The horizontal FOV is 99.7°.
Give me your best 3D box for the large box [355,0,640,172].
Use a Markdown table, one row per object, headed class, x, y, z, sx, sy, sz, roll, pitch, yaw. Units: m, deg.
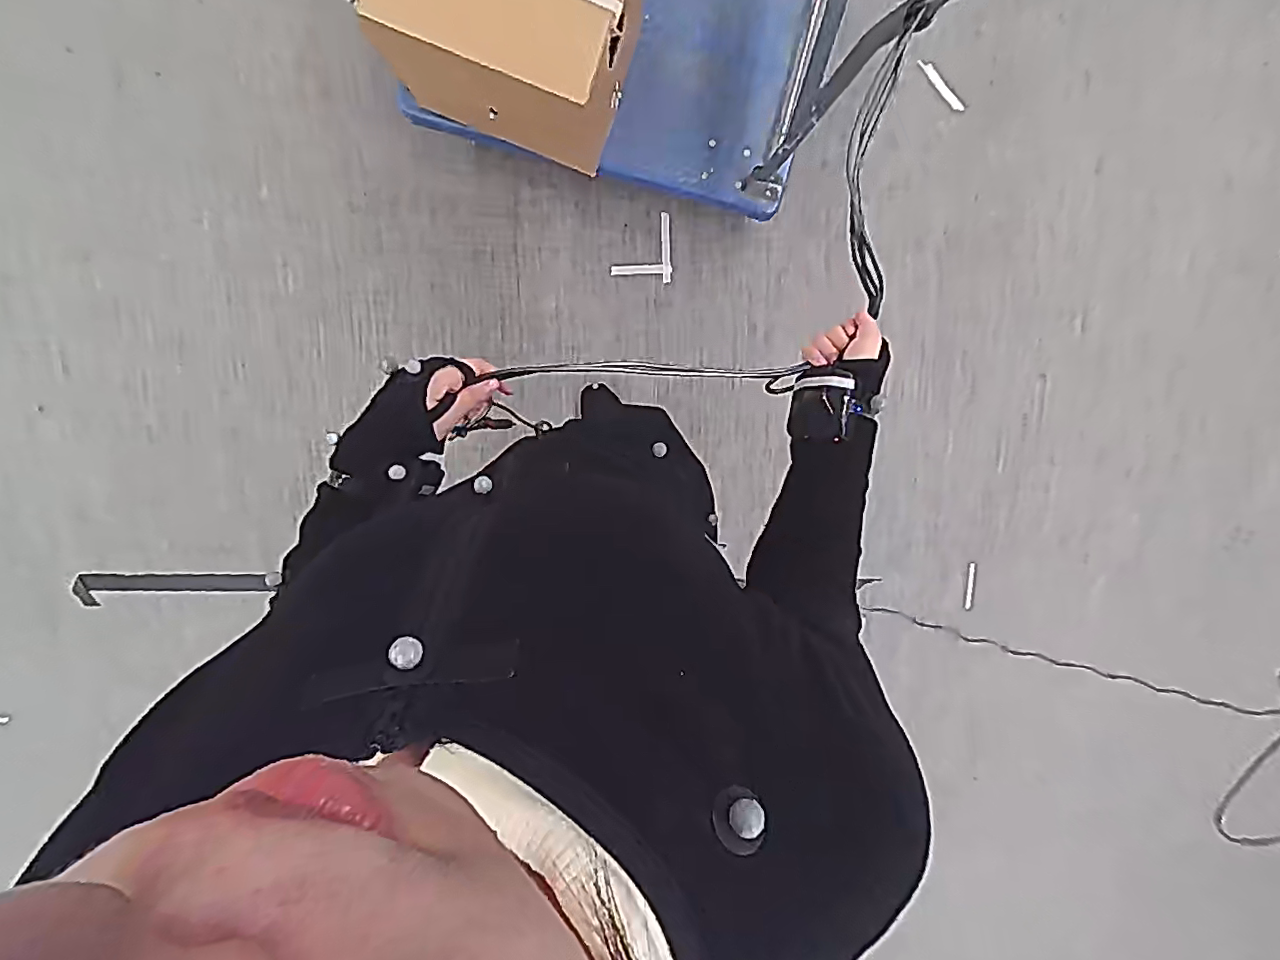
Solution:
| class | x | y | z | sx | sy | sz | roll | pitch | yaw |
| --- | --- | --- | --- | --- | --- | --- | --- | --- | --- |
| large box | -0.230 | -0.853 | 1.013 | 0.408 | 0.320 | 0.320 | 19 | 98 | -4 |
